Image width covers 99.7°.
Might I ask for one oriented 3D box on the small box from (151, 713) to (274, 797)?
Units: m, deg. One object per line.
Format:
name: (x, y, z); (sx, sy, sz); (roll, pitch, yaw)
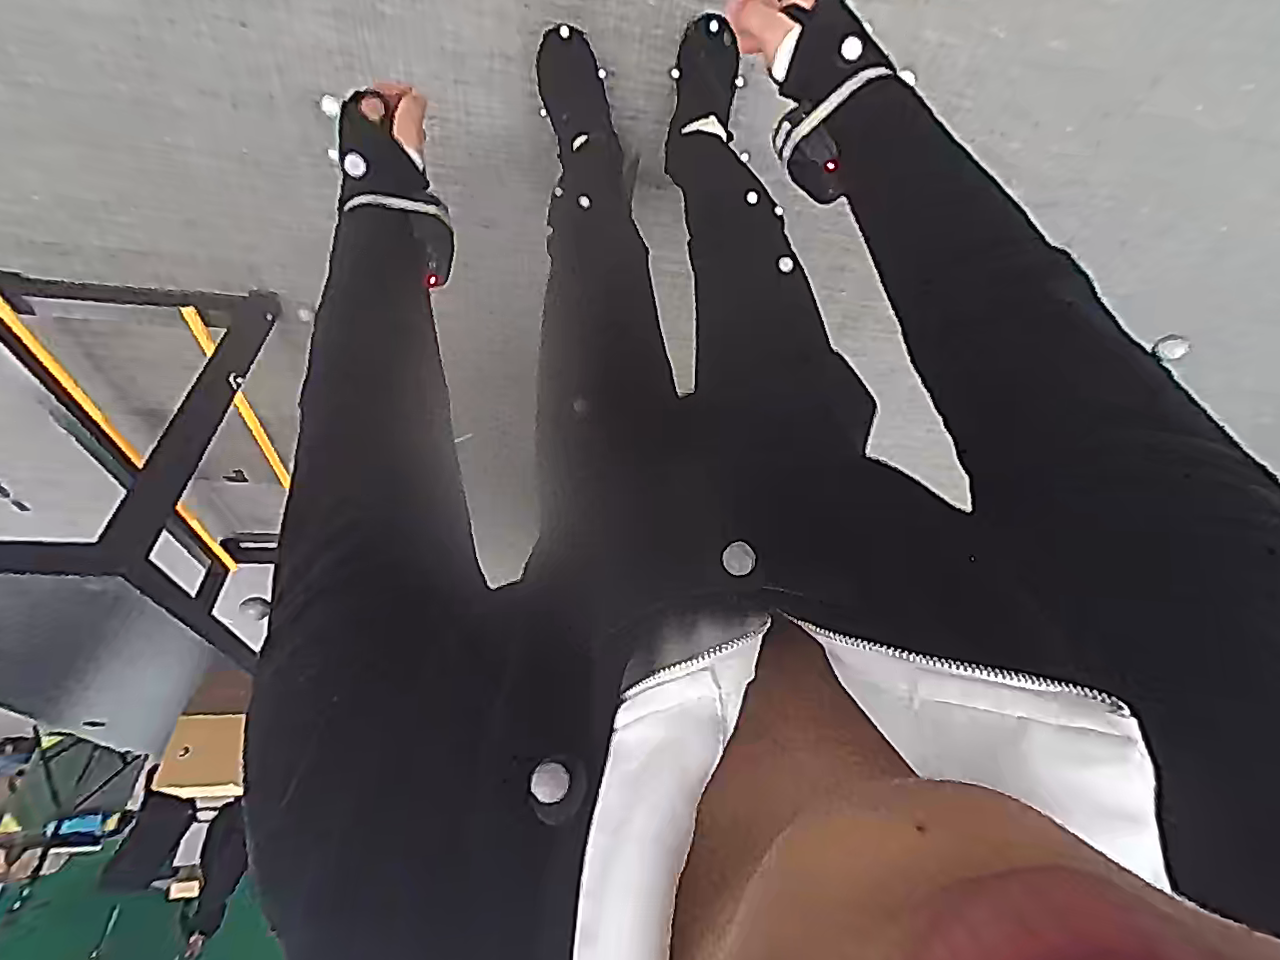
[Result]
small box: (-1.101, 0.715, 1.410); (0.179, 0.176, 0.168); (2, 144, -10)
